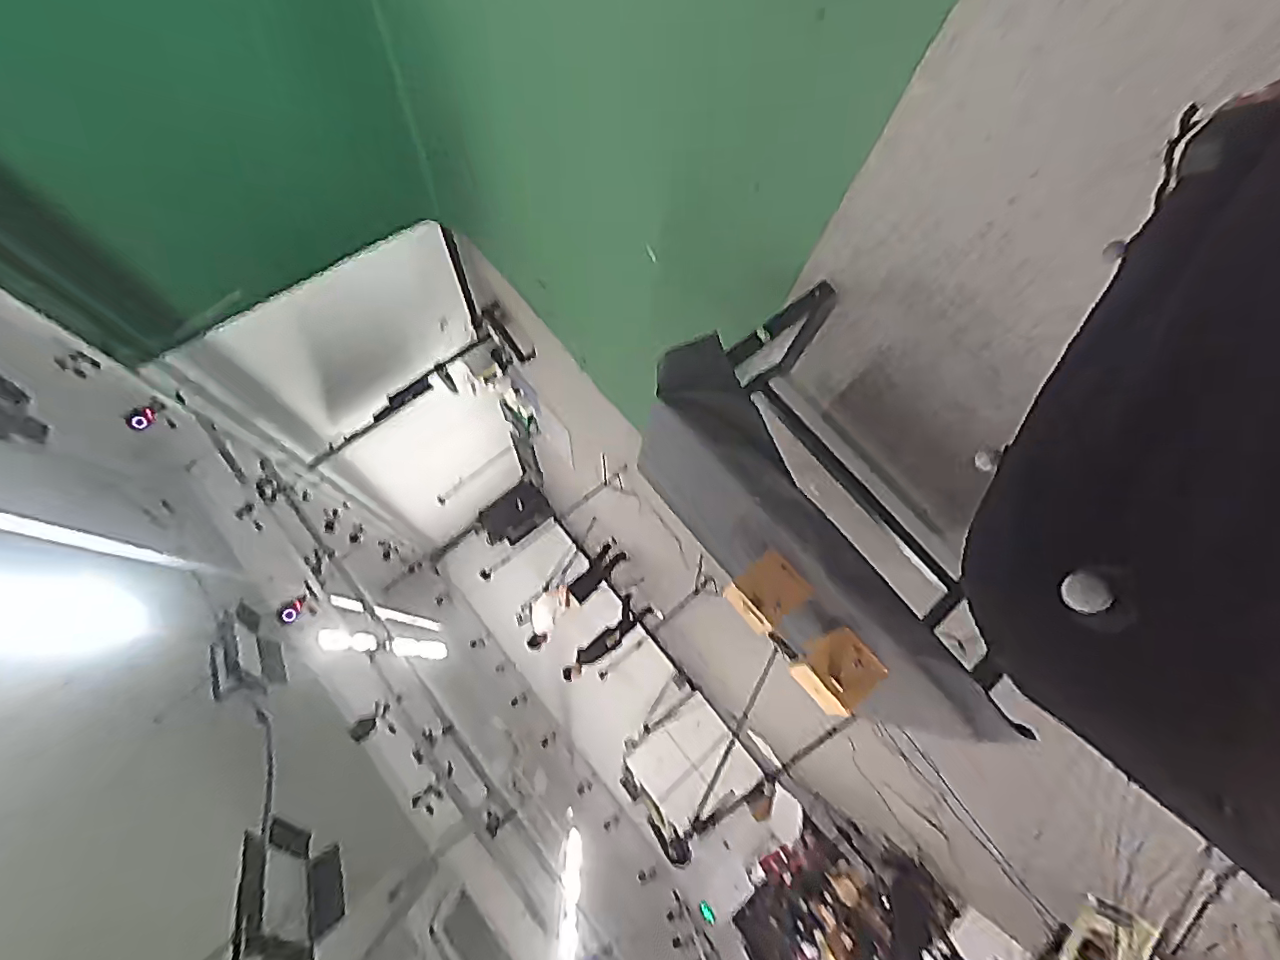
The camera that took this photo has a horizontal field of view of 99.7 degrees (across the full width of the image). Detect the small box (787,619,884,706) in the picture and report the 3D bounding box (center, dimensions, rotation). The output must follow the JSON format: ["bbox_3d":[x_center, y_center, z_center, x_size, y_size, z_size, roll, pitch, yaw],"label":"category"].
[{"bbox_3d":[0.558,0.520,1.546,0.168,0.176,0.179,49,164,15],"label":"small box"}]
